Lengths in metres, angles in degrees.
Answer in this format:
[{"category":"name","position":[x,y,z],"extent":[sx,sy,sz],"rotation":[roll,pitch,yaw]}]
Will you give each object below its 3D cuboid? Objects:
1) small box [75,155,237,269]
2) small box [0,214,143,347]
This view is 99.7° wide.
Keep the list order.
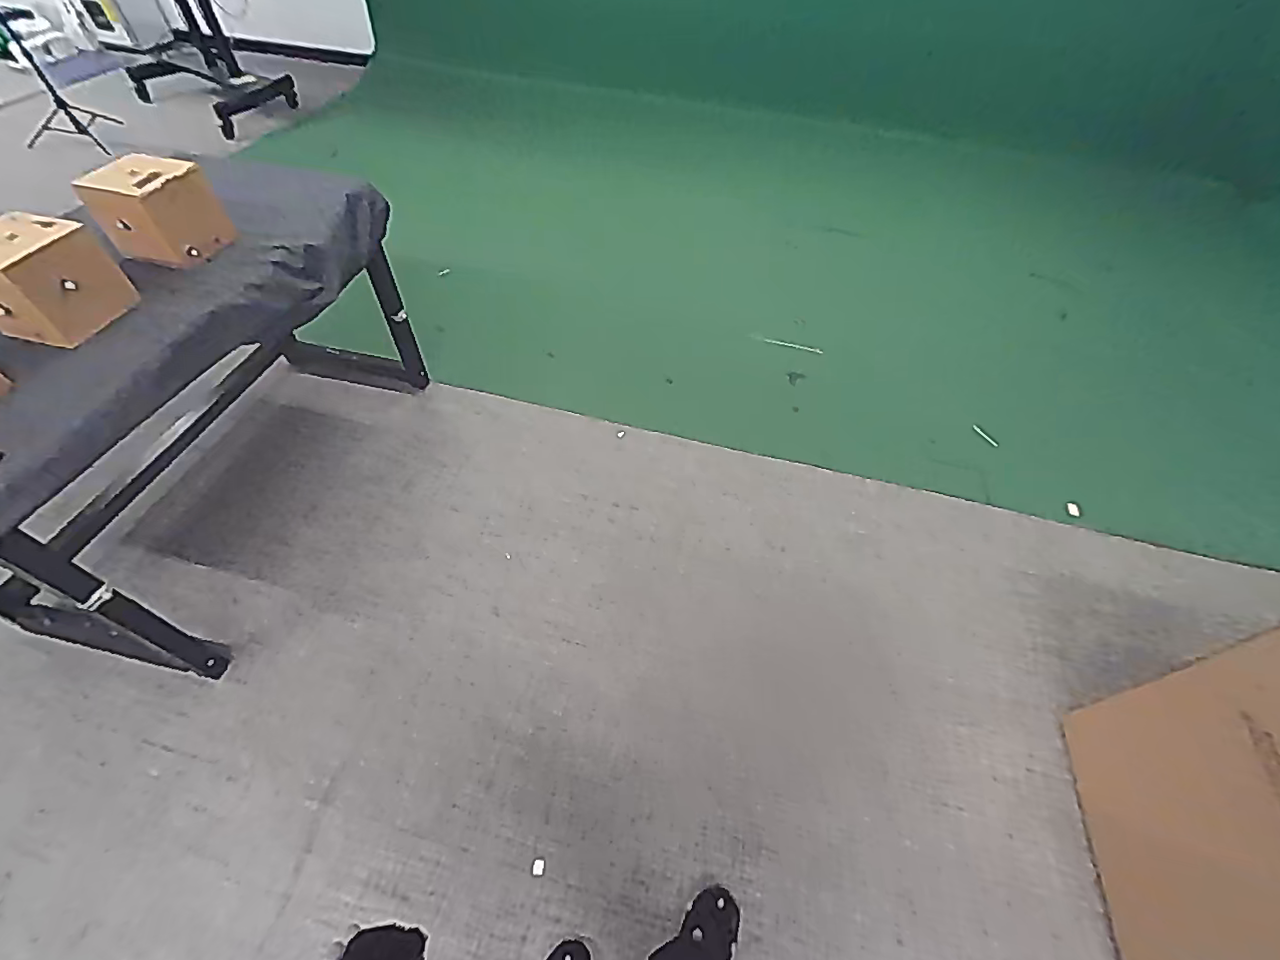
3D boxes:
[{"category":"small box","position":[-1.072,-0.600,1.220],"extent":[0.179,0.176,0.168],"rotation":[13,52,8]},{"category":"small box","position":[-1.143,-0.383,1.048],"extent":[0.168,0.176,0.179],"rotation":[12,53,6]}]
